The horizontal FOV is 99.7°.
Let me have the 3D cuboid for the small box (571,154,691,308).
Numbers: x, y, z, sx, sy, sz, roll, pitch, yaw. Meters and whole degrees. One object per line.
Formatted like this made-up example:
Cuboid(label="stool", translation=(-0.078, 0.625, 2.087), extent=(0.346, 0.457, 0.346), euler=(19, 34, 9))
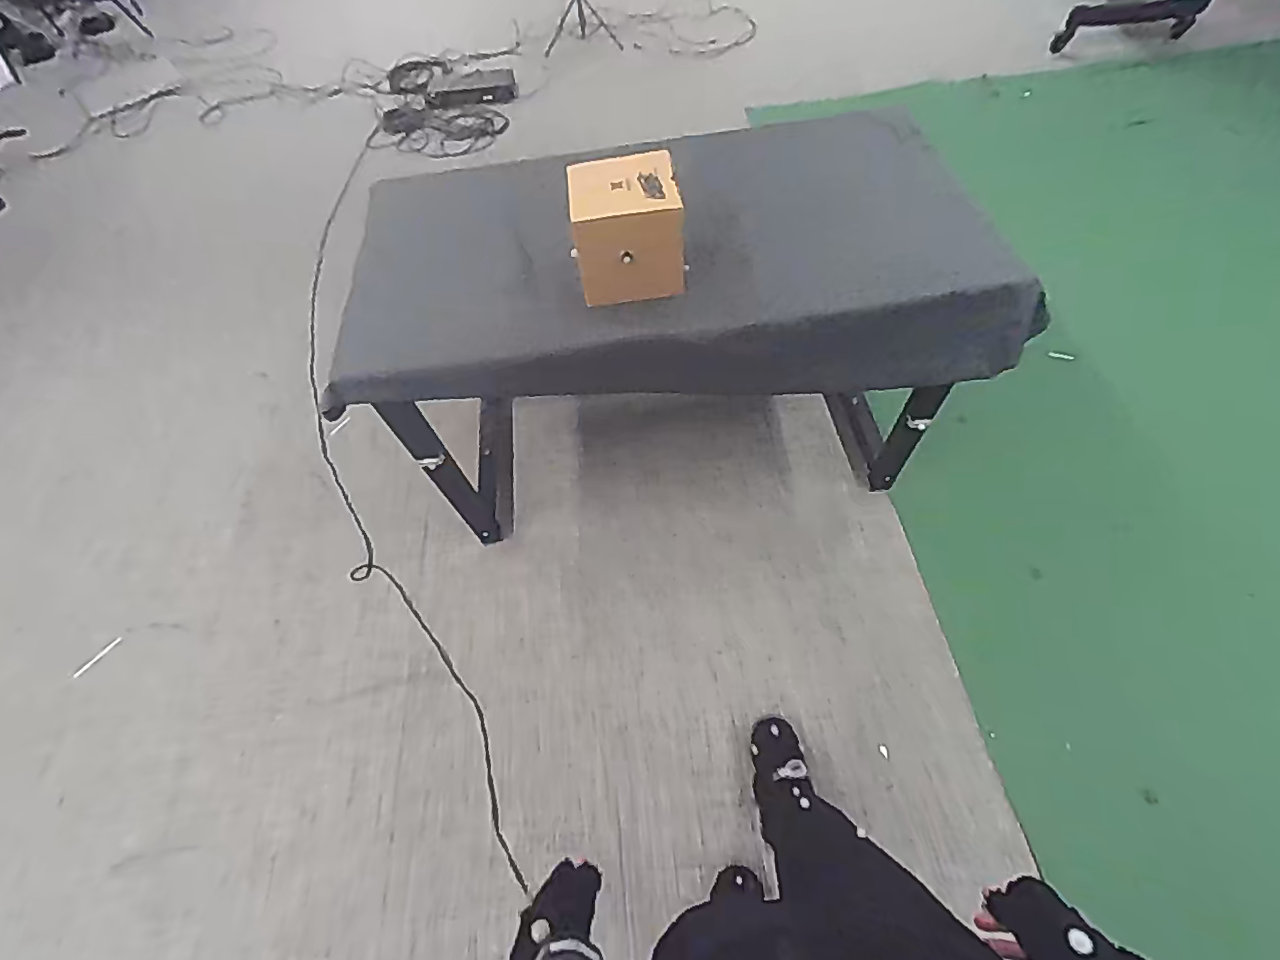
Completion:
Cuboid(label="small box", translation=(-0.016, -0.424, 0.934), extent=(0.179, 0.176, 0.168), euler=(-10, 59, -2))
